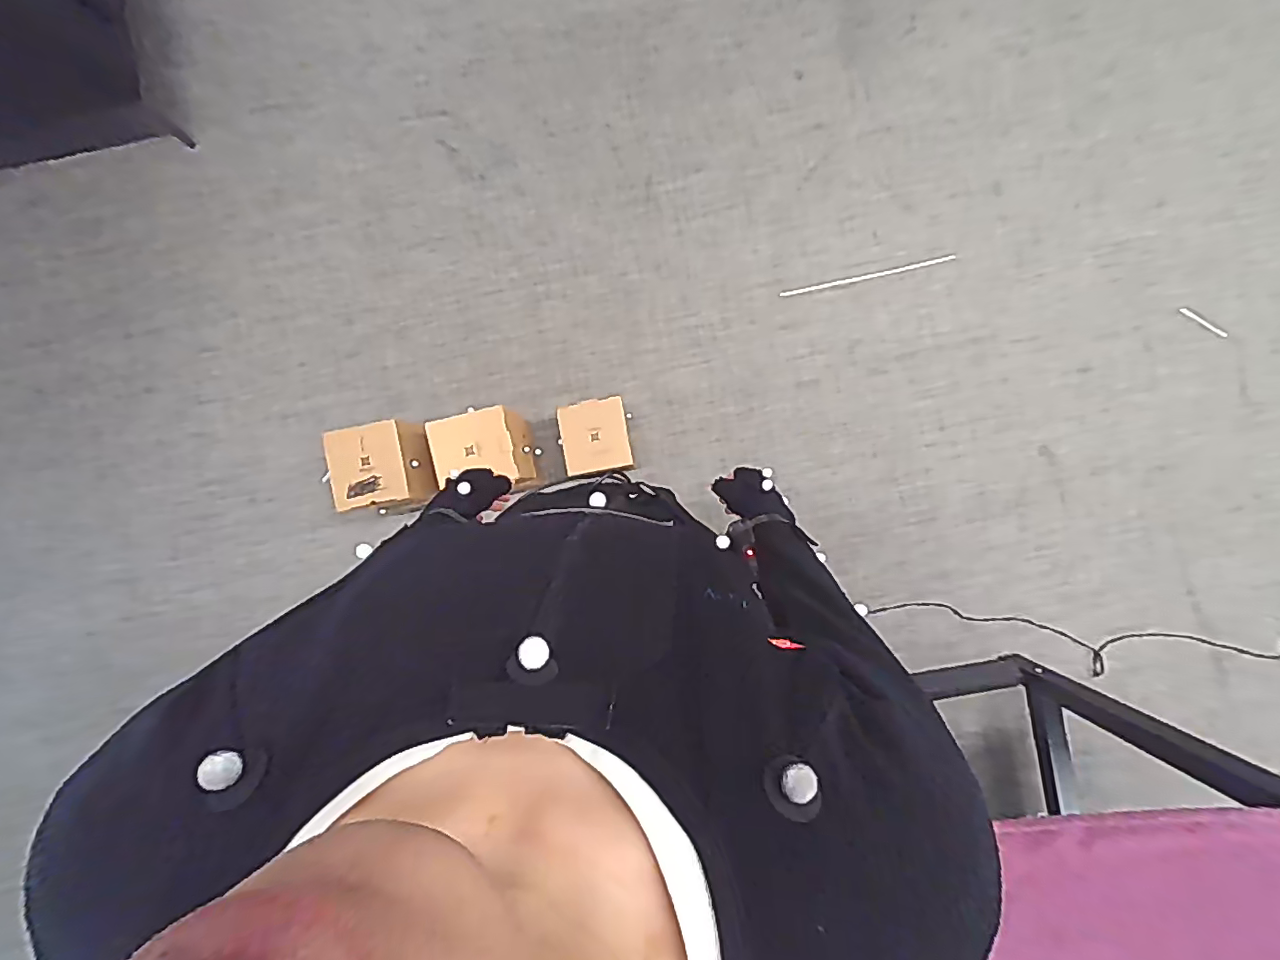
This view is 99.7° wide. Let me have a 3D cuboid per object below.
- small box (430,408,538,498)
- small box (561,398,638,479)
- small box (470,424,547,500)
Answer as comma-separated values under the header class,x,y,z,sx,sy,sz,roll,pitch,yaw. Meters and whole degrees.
class,x,y,z,sx,sy,sz,roll,pitch,yaw
small box,-0.352,-0.056,1.245,0.179,0.176,0.168,-14,89,0
small box,-0.101,-0.102,1.405,0.168,0.176,0.179,-10,89,1
small box,-0.352,-0.047,1.407,0.168,0.176,0.179,-13,88,2
